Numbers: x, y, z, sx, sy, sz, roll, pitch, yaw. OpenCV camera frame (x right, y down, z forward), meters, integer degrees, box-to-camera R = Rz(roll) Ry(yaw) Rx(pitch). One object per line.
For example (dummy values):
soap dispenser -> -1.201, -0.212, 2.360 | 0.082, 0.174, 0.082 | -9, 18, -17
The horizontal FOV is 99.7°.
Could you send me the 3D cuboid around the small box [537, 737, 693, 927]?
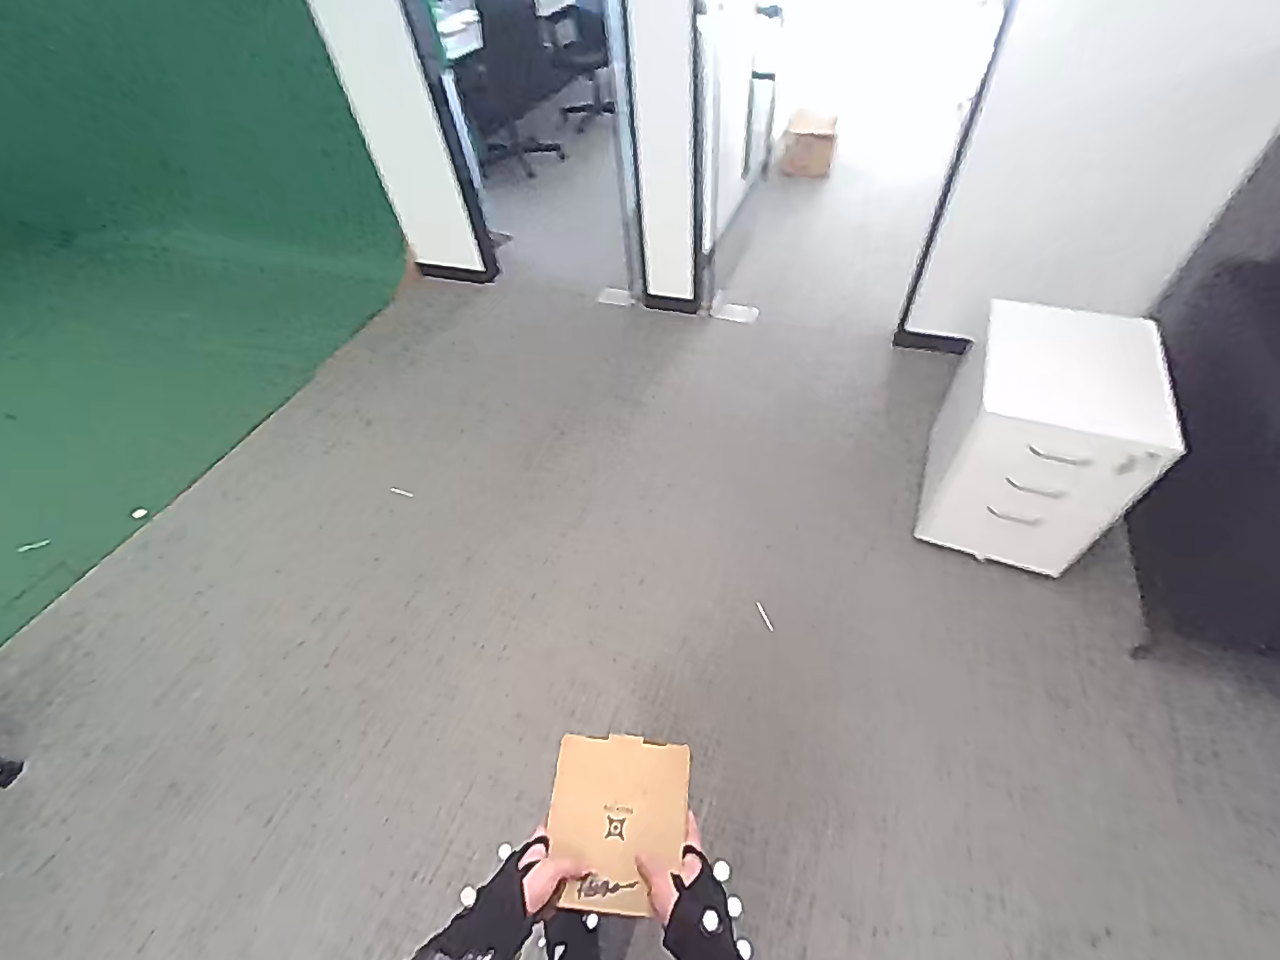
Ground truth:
small box -> -0.023, 0.452, 0.697 | 0.168, 0.176, 0.179 | 4, 53, 4
